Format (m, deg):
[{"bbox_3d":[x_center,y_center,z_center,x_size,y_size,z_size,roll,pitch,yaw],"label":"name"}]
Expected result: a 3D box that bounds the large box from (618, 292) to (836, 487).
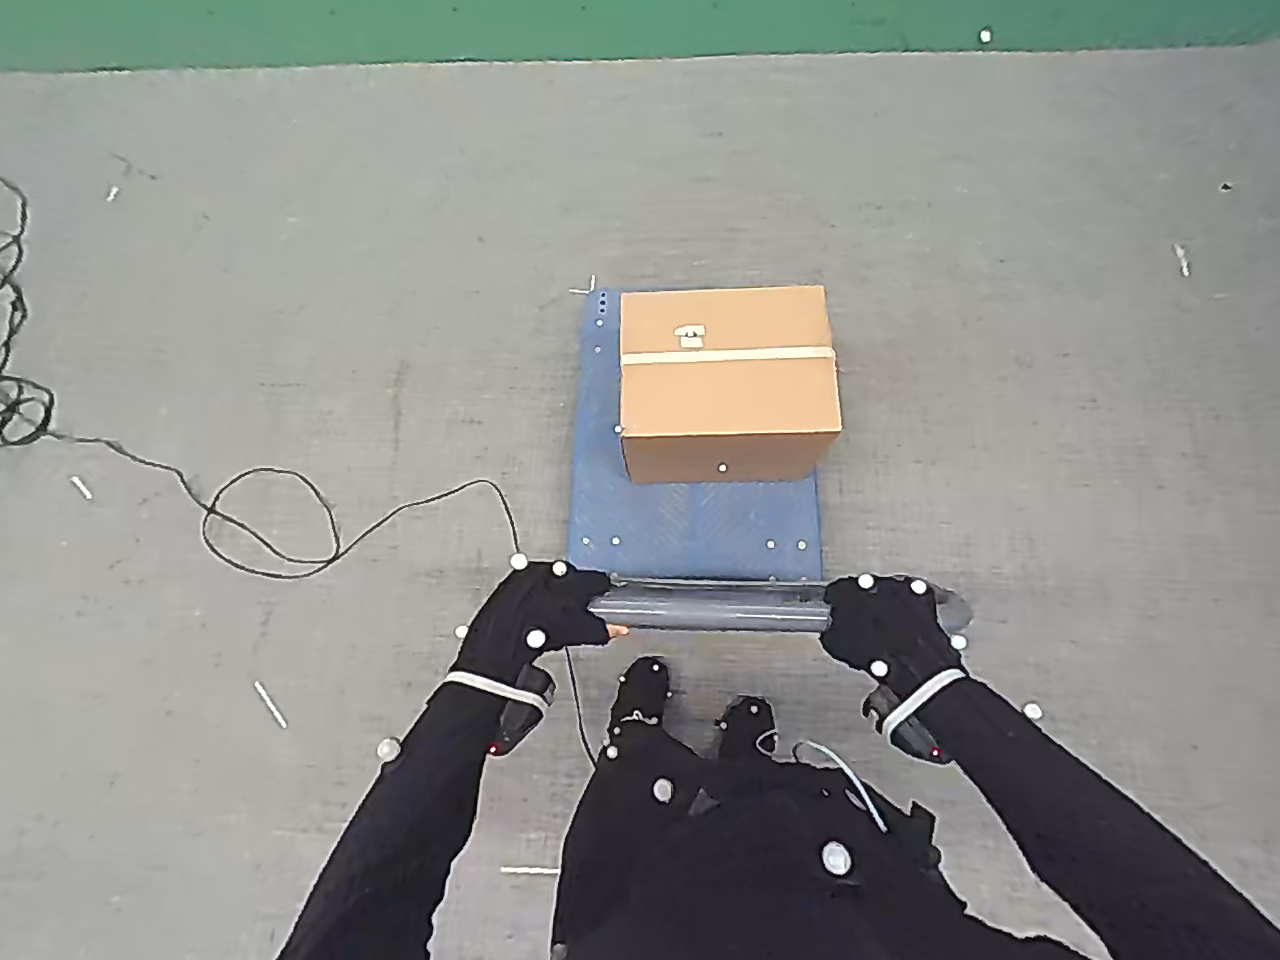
[{"bbox_3d":[0.171,-0.178,1.191,0.408,0.320,0.320,-3,72,3],"label":"large box"}]
